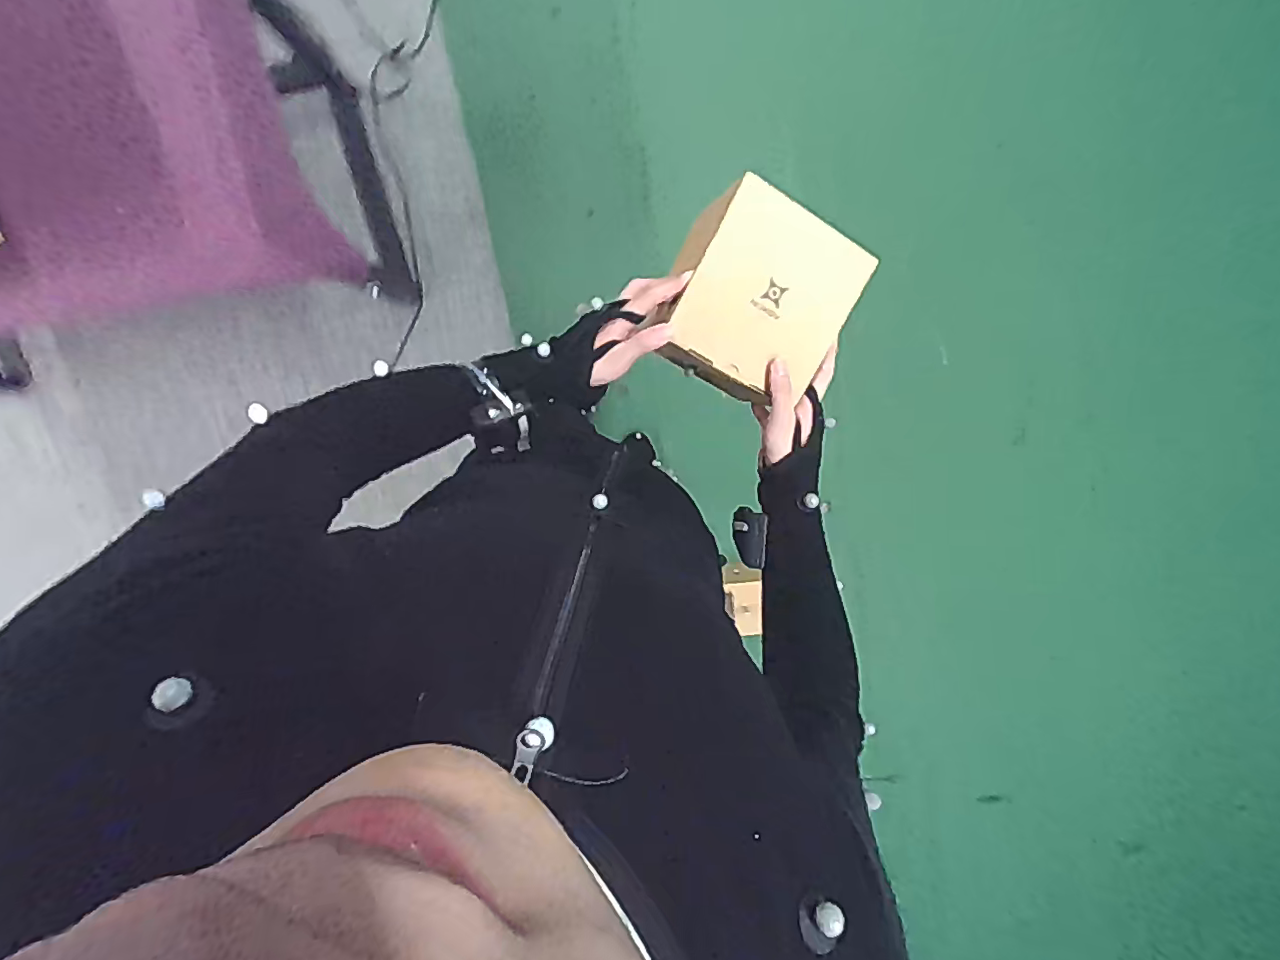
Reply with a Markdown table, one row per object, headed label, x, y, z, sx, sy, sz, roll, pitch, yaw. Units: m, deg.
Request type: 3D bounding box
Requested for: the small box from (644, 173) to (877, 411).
| label | x | y | z | sx | sy | sz | roll | pitch | yaw |
| --- | --- | --- | --- | --- | --- | --- | --- | --- | --- |
| small box | 0.119 | -0.201 | 0.616 | 0.168 | 0.176 | 0.179 | 26 | 99 | -15 |
